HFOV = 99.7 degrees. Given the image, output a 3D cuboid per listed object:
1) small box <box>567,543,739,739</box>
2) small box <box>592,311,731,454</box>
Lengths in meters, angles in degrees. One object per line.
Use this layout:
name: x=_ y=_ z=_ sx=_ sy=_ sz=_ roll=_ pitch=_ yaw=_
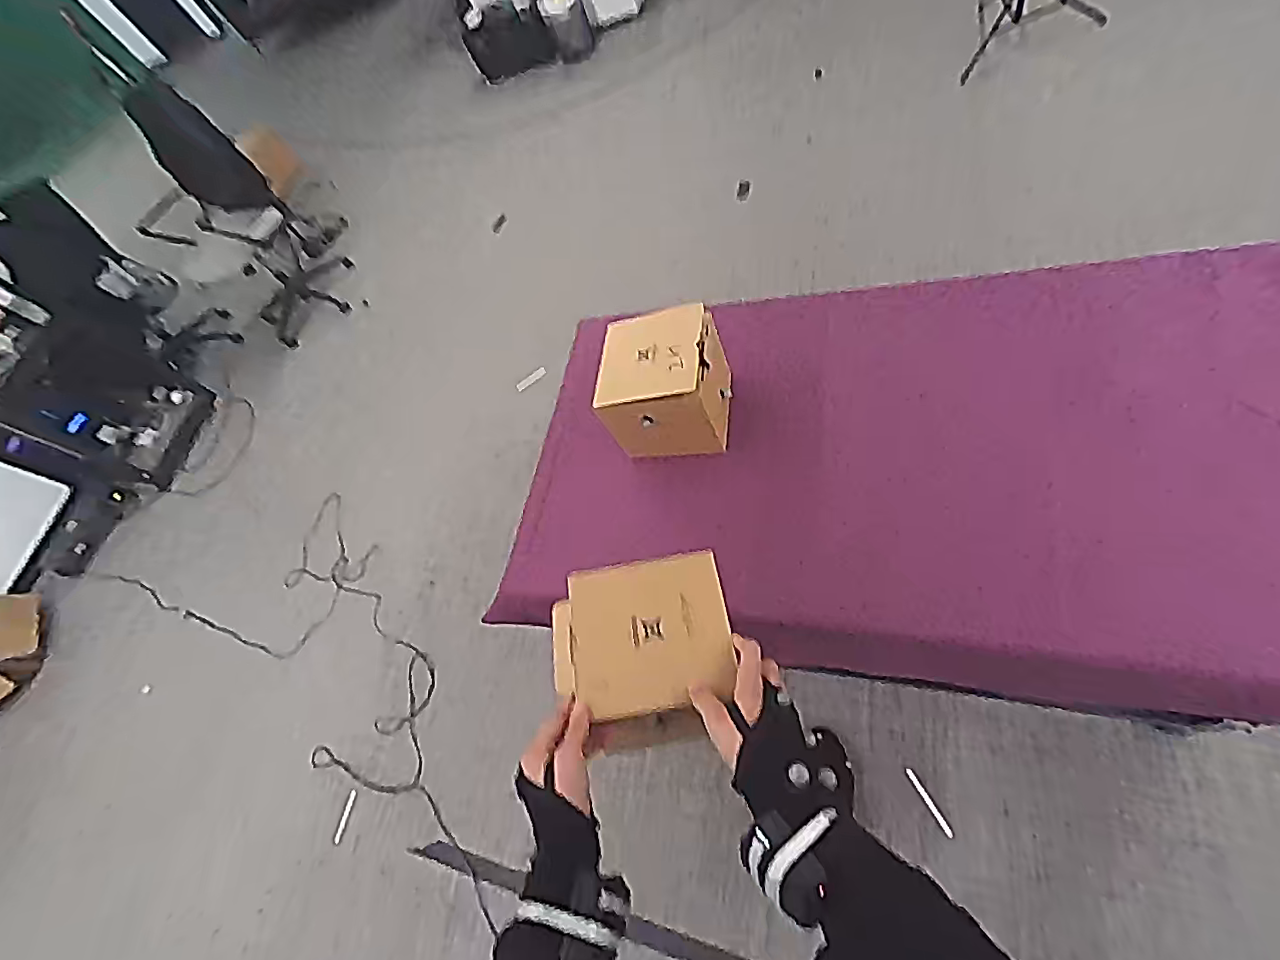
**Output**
small box: x=0.017 y=0.198 z=0.647 sx=0.179 sy=0.176 sz=0.168 roll=-9 pitch=53 yaw=2
small box: x=0.044 y=-0.152 z=0.899 sx=0.179 sy=0.176 sz=0.168 roll=-1 pitch=65 yaw=21
